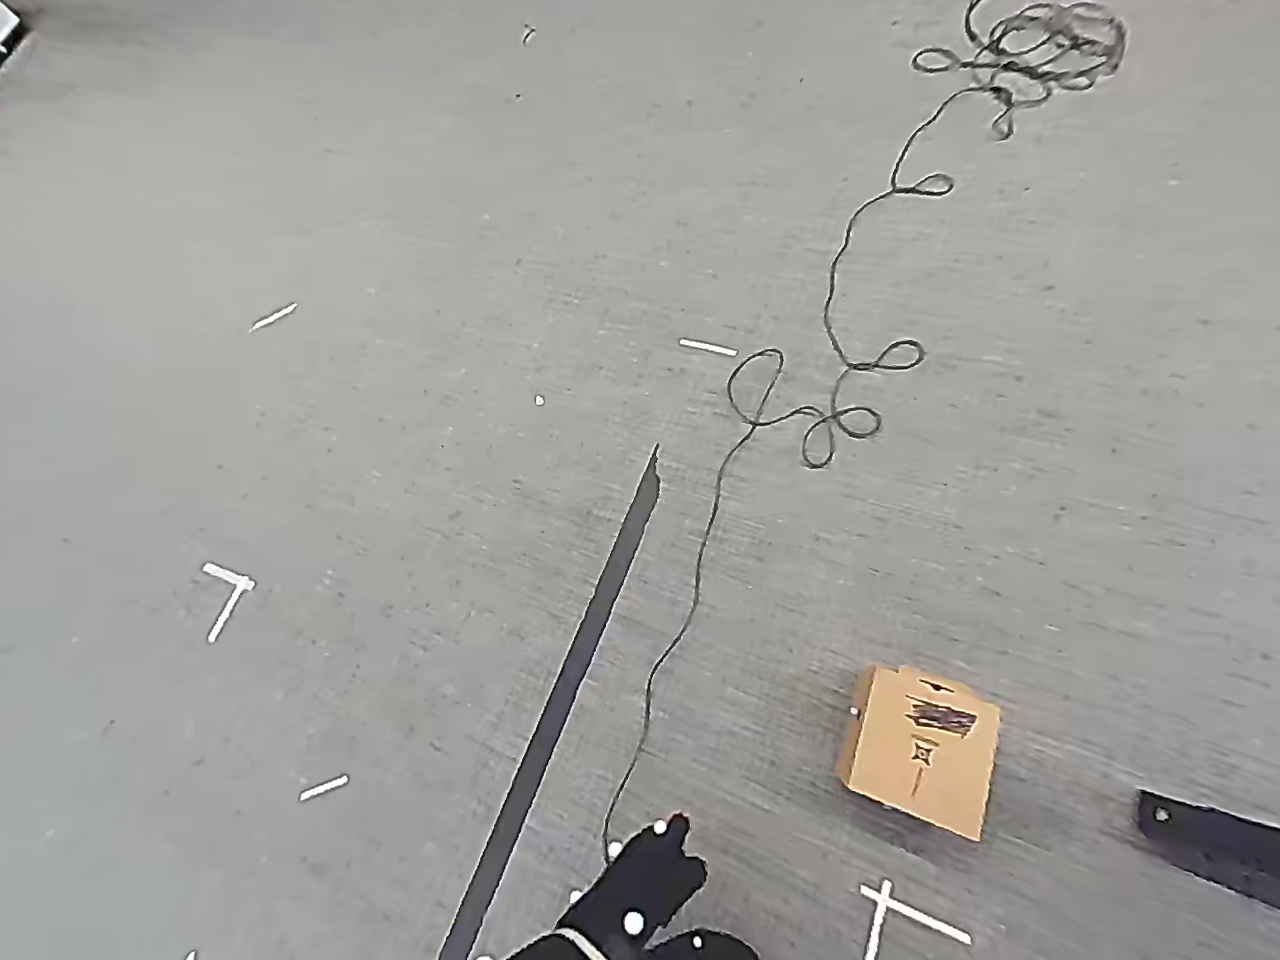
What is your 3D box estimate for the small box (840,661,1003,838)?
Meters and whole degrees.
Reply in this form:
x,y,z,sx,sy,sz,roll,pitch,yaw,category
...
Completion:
x,y,z,sx,sy,sz,roll,pitch,yaw,category
0.409,0.388,0.810,0.168,0.176,0.179,15,74,19,small box
